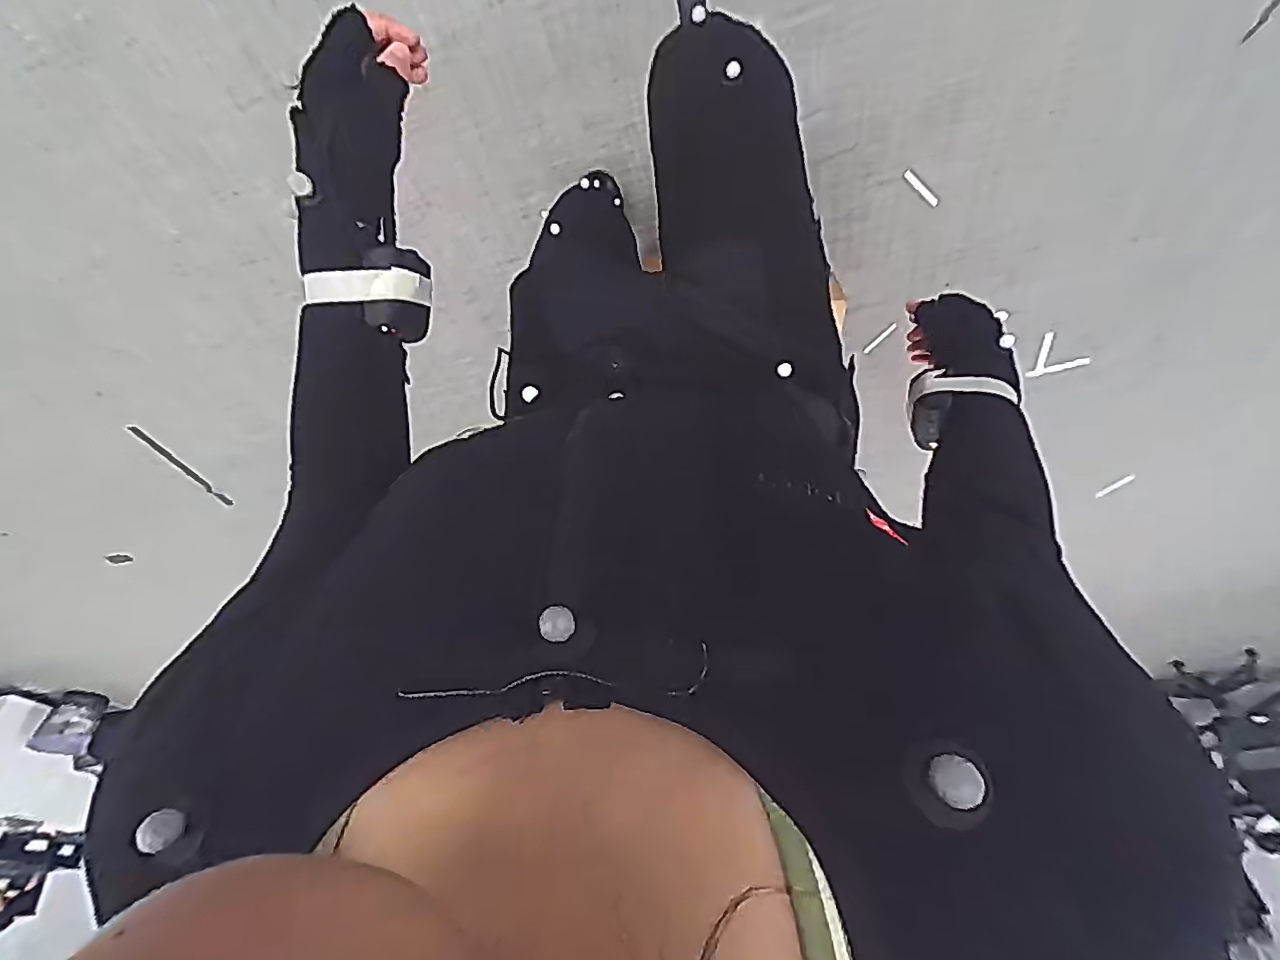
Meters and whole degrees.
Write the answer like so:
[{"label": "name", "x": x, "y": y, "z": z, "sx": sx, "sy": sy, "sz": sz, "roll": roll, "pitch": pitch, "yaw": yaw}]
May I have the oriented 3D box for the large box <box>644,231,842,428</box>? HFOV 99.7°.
[{"label": "large box", "x": 0.232, "y": -0.364, "z": 1.319, "sx": 0.408, "sy": 0.320, "sz": 0.320, "roll": -7, "pitch": 139, "yaw": 4}]
